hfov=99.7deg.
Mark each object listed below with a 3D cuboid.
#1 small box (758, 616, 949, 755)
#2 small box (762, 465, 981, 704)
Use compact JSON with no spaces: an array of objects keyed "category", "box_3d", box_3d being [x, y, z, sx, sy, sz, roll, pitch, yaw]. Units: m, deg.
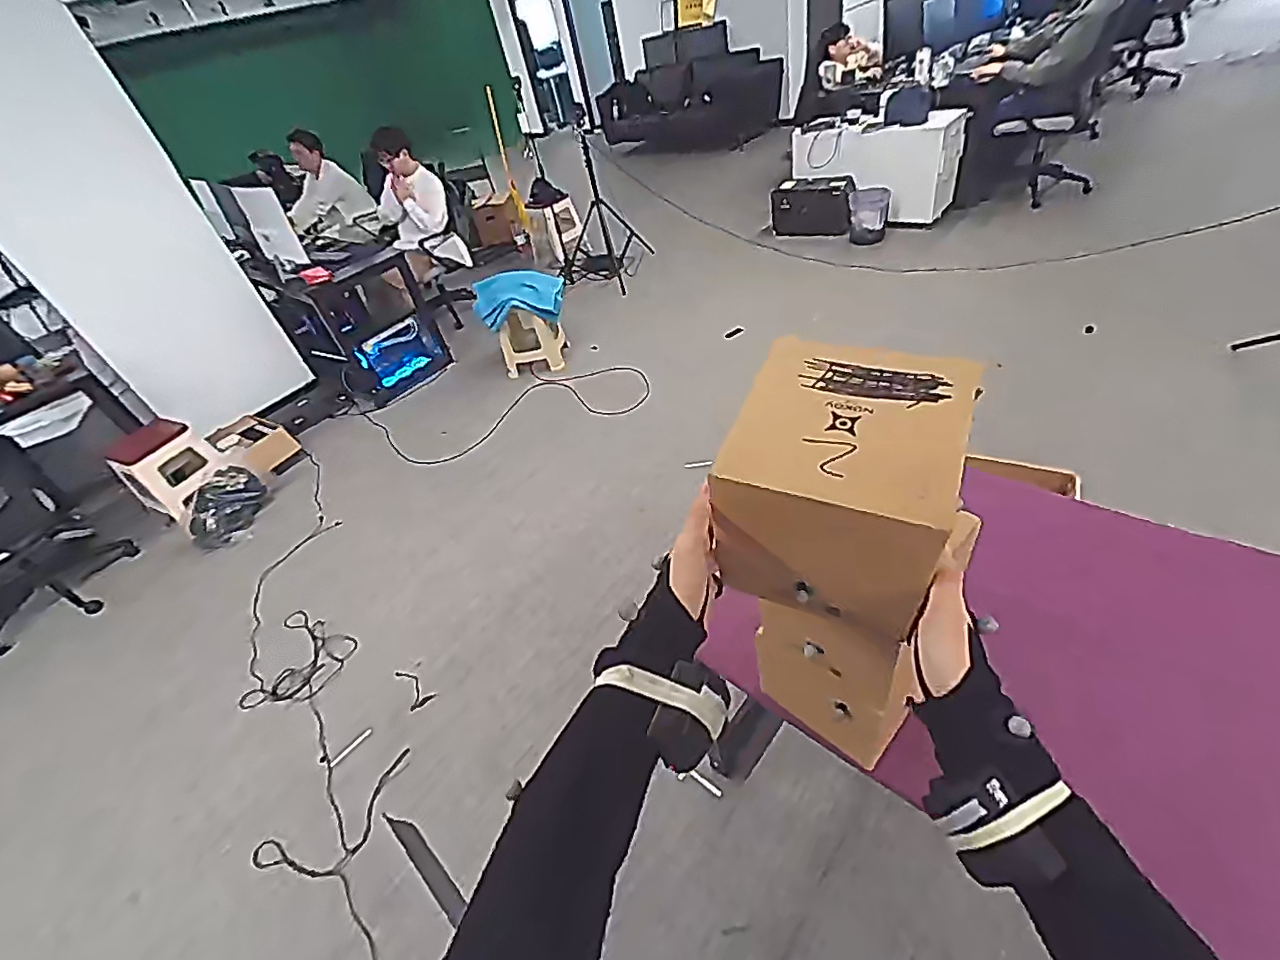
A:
[{"category":"small box","box_3d":[0.284,0.242,0.739,0.168,0.176,0.179,-39,46,-25]},{"category":"small box","box_3d":[0.260,0.118,0.633,0.168,0.176,0.179,28,57,38]}]
